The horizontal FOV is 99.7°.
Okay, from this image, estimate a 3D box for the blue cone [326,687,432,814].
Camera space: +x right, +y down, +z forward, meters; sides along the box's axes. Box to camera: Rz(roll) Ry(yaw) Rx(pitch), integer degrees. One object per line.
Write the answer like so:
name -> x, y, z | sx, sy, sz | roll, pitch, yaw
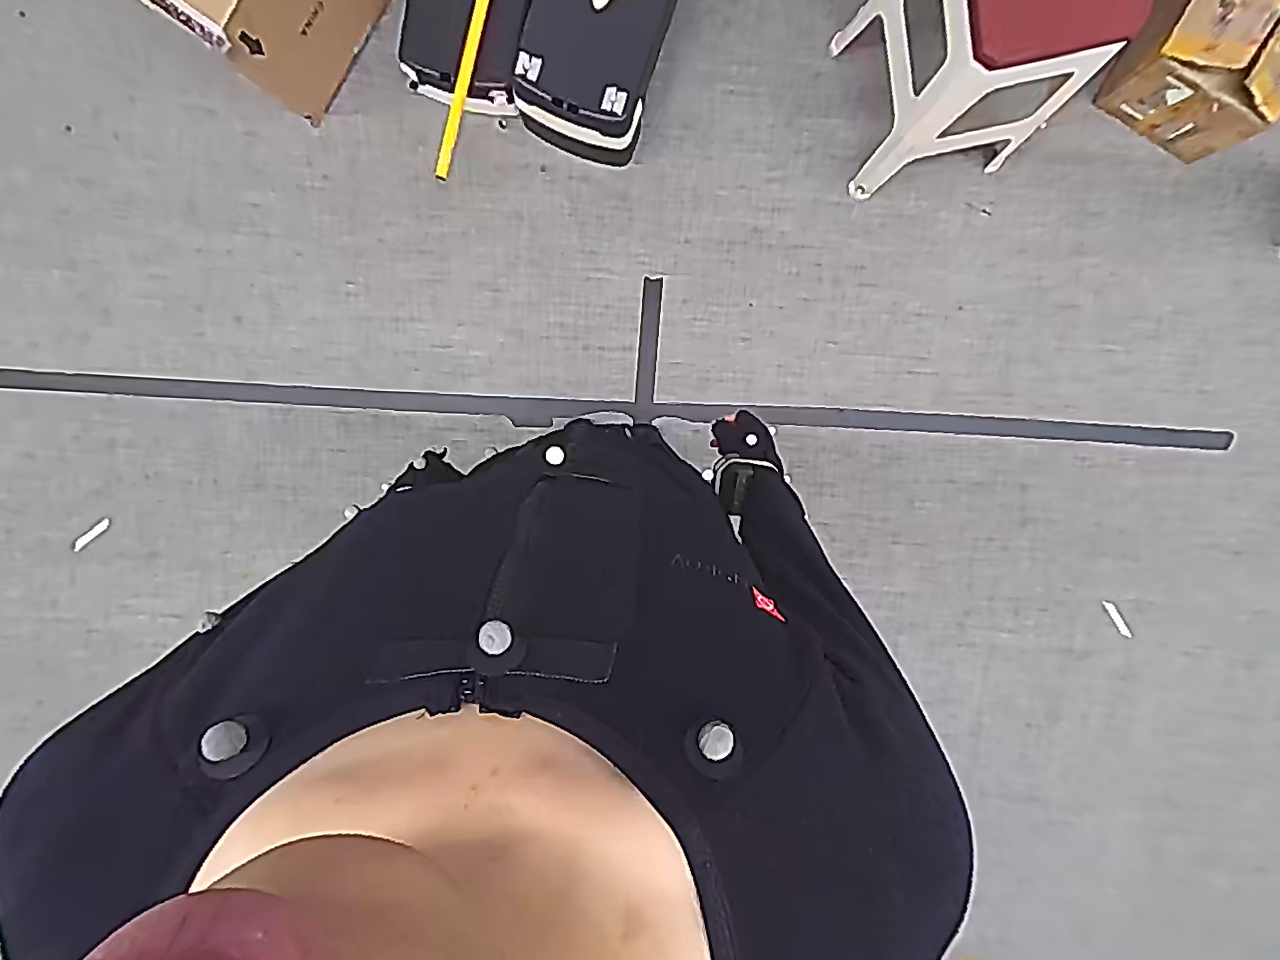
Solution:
blue cone -> -0.706, 0.718, 1.410 | 0.192, 0.380, 0.193 | -1, 98, 0
